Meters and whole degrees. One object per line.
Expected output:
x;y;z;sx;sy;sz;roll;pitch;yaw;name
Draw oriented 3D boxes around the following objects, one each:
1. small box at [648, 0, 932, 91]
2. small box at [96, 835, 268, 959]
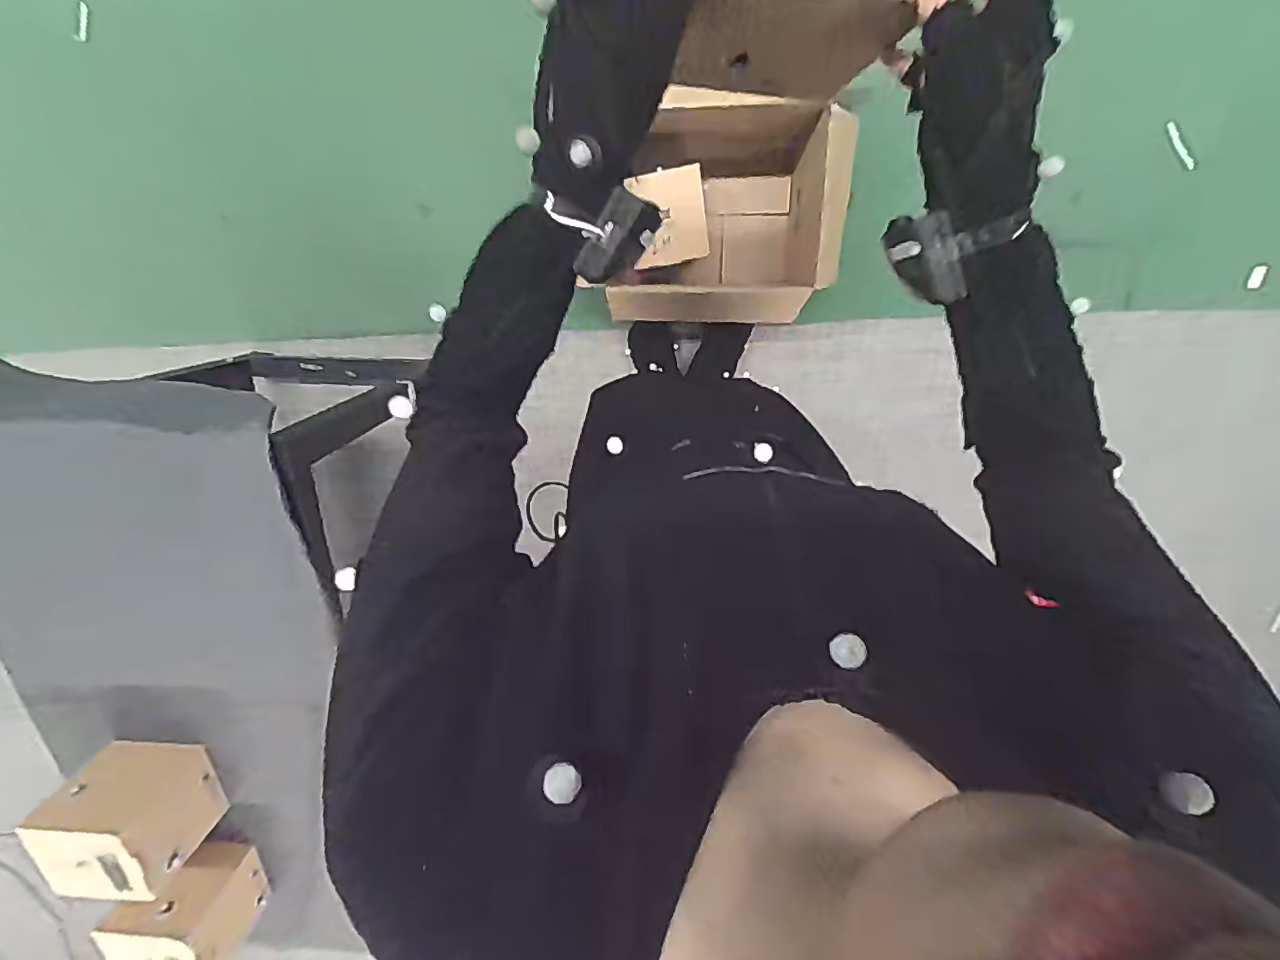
0.100;-0.400;0.360;0.168;0.176;0.179;1;108;-7;small box
-0.855;0.818;1.037;0.179;0.176;0.168;3;112;3;small box
